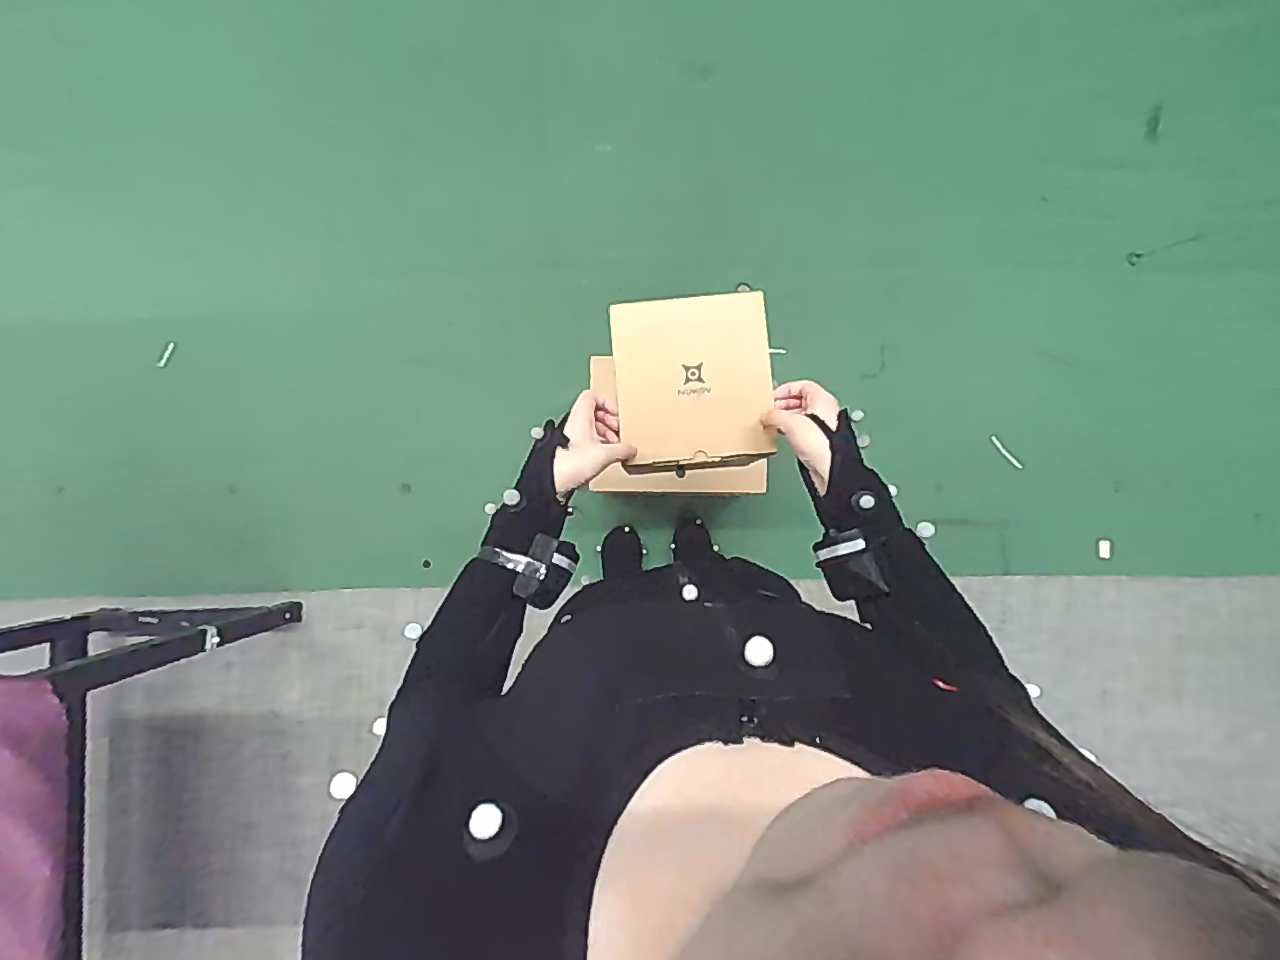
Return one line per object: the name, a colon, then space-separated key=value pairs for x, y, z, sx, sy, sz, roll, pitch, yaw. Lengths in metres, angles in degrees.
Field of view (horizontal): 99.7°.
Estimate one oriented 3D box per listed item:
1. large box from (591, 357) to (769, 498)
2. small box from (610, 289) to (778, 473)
large box: x=0.088 y=-0.116 z=1.360 sx=0.408 sy=0.320 sz=0.320 roll=0 pitch=88 yaw=0
small box: x=0.054 y=-0.103 z=0.635 sx=0.168 sy=0.176 sz=0.179 roll=-5 pitch=89 yaw=0
